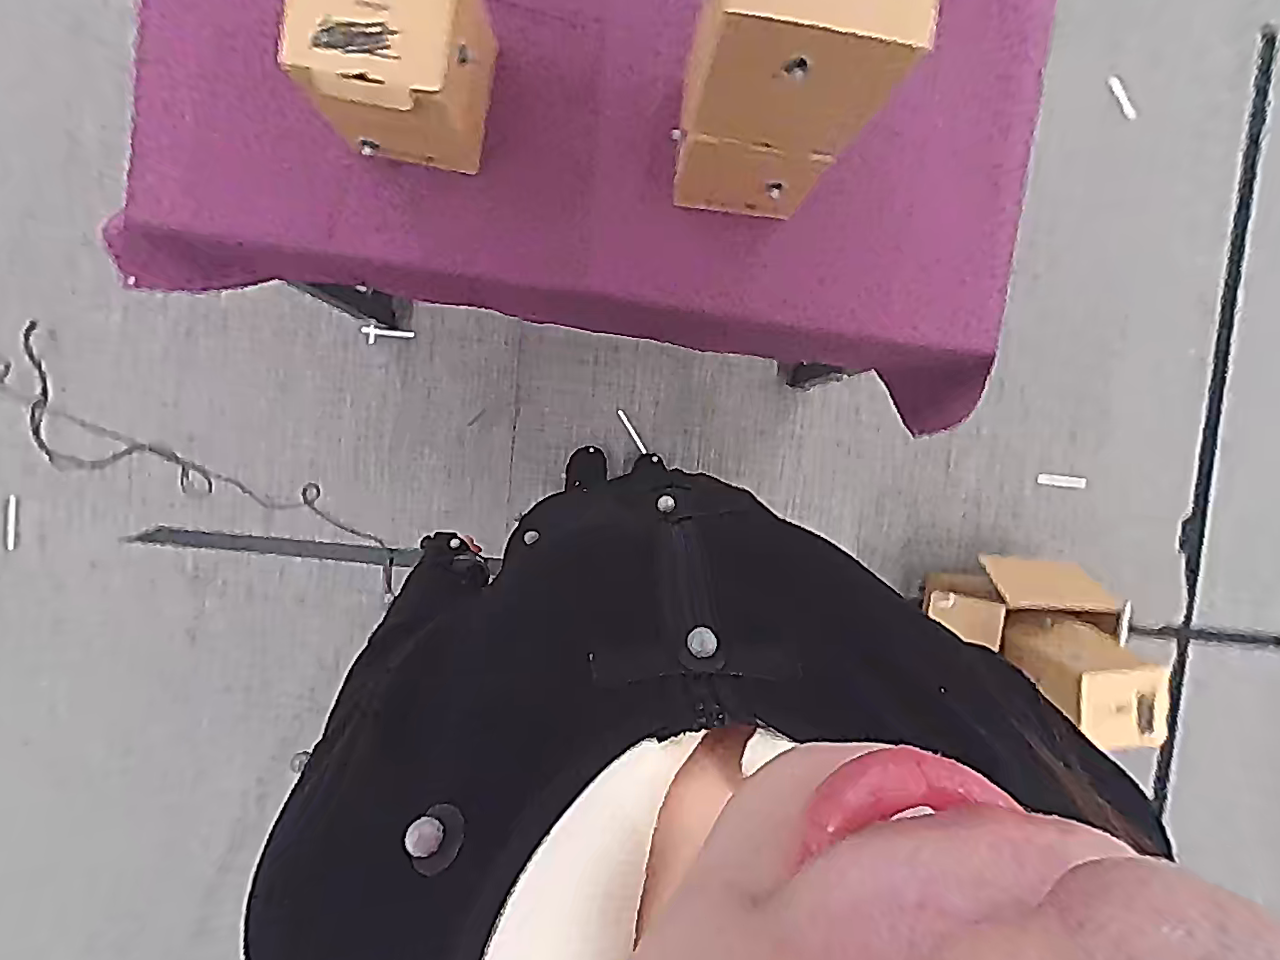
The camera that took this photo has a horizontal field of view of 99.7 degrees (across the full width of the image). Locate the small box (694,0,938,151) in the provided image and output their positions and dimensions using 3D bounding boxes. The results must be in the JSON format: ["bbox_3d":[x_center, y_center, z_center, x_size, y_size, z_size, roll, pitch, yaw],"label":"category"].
[{"bbox_3d":[0.155,-0.443,0.508,0.179,0.176,0.168,7,94,-5],"label":"small box"}]

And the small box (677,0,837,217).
[{"bbox_3d":[0.142,-0.453,0.672,0.168,0.176,0.179,6,93,-5],"label":"small box"}]

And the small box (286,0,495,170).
[{"bbox_3d":[-0.277,-0.504,0.639,0.168,0.176,0.179,9,92,-5],"label":"small box"}]

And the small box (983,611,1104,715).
[{"bbox_3d":[0.985,0.440,1.335,0.168,0.176,0.179,-15,98,1],"label":"small box"}]
